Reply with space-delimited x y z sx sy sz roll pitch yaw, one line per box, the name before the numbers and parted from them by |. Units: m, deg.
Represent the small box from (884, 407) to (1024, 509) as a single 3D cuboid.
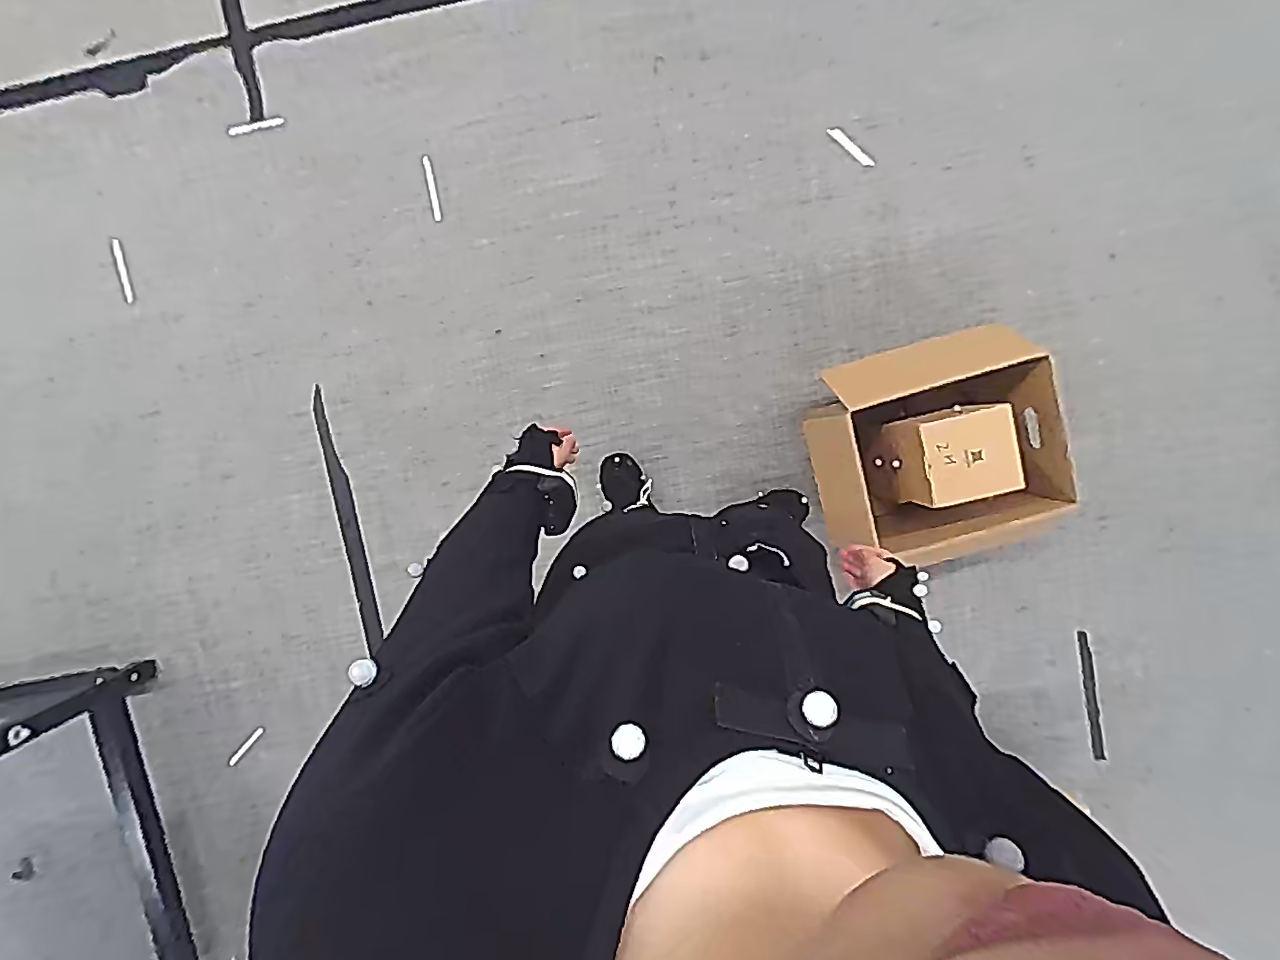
small box | 0.631 -0.050 1.102 0.179 0.176 0.168 -13 95 3
